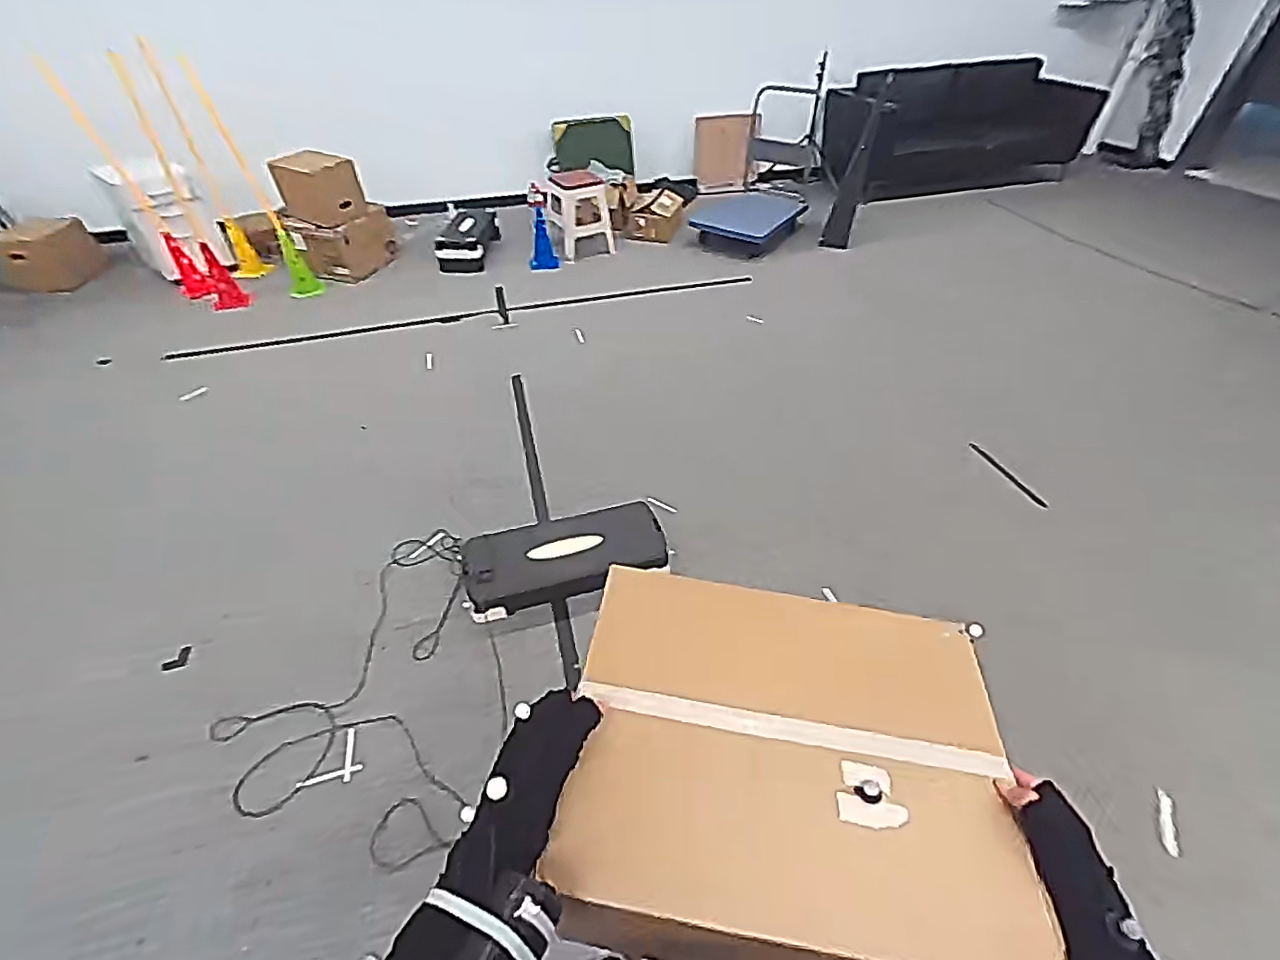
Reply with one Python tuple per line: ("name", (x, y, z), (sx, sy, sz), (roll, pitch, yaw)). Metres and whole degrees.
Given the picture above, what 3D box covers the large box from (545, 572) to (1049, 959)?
("large box", (0.127, 0.346, 0.630), (0.408, 0.320, 0.320), (8, 44, 4))
